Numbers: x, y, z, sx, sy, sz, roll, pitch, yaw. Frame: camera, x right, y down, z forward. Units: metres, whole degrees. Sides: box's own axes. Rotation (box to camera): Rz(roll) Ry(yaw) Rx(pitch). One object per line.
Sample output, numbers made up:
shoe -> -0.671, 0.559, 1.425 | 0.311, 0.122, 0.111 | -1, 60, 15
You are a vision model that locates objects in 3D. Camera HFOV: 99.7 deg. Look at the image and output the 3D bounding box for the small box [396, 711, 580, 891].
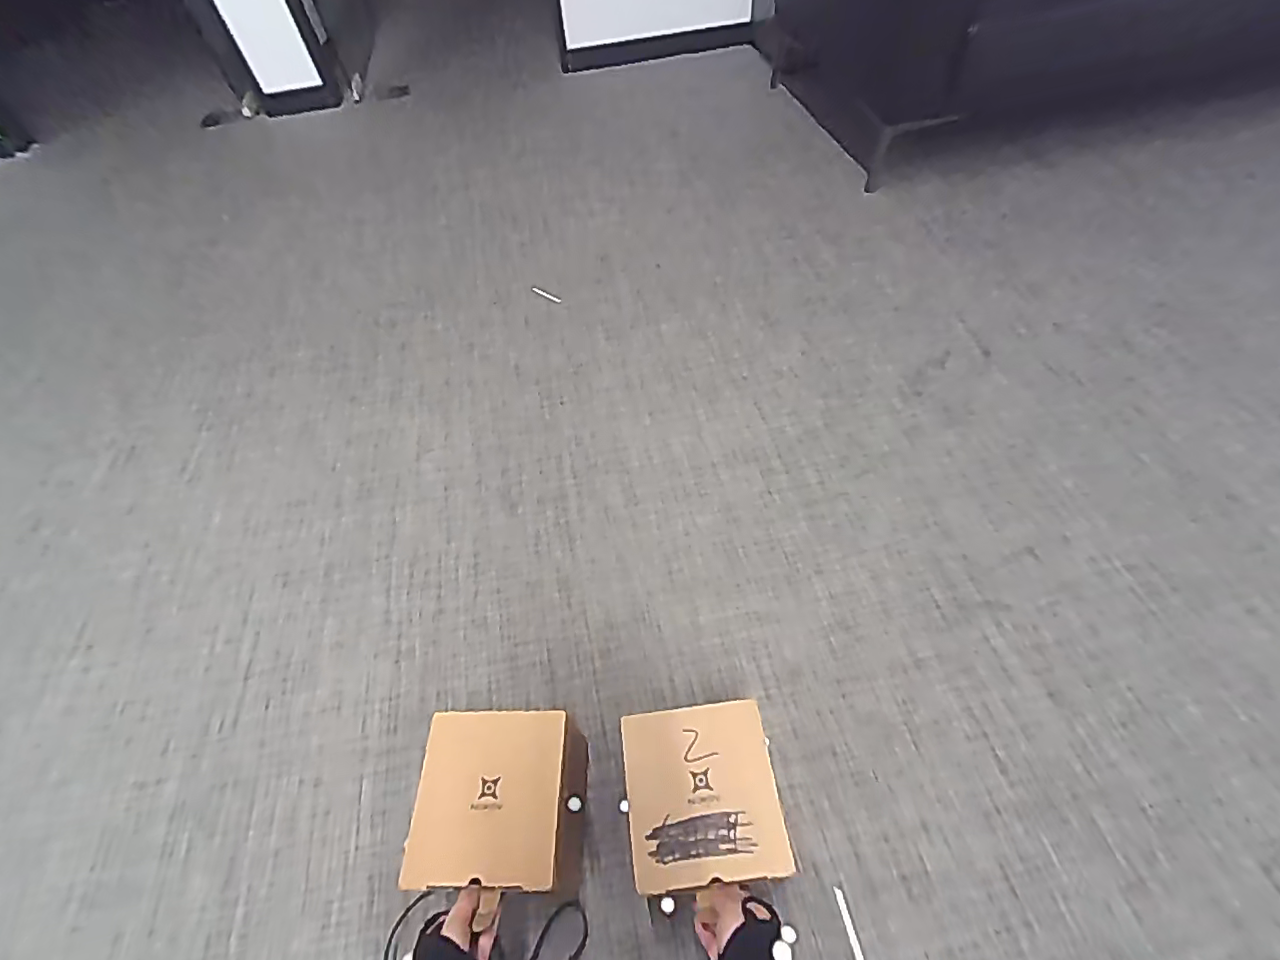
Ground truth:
small box -> -0.171, 0.400, 0.677 | 0.168, 0.176, 0.179 | -1, 56, 3
